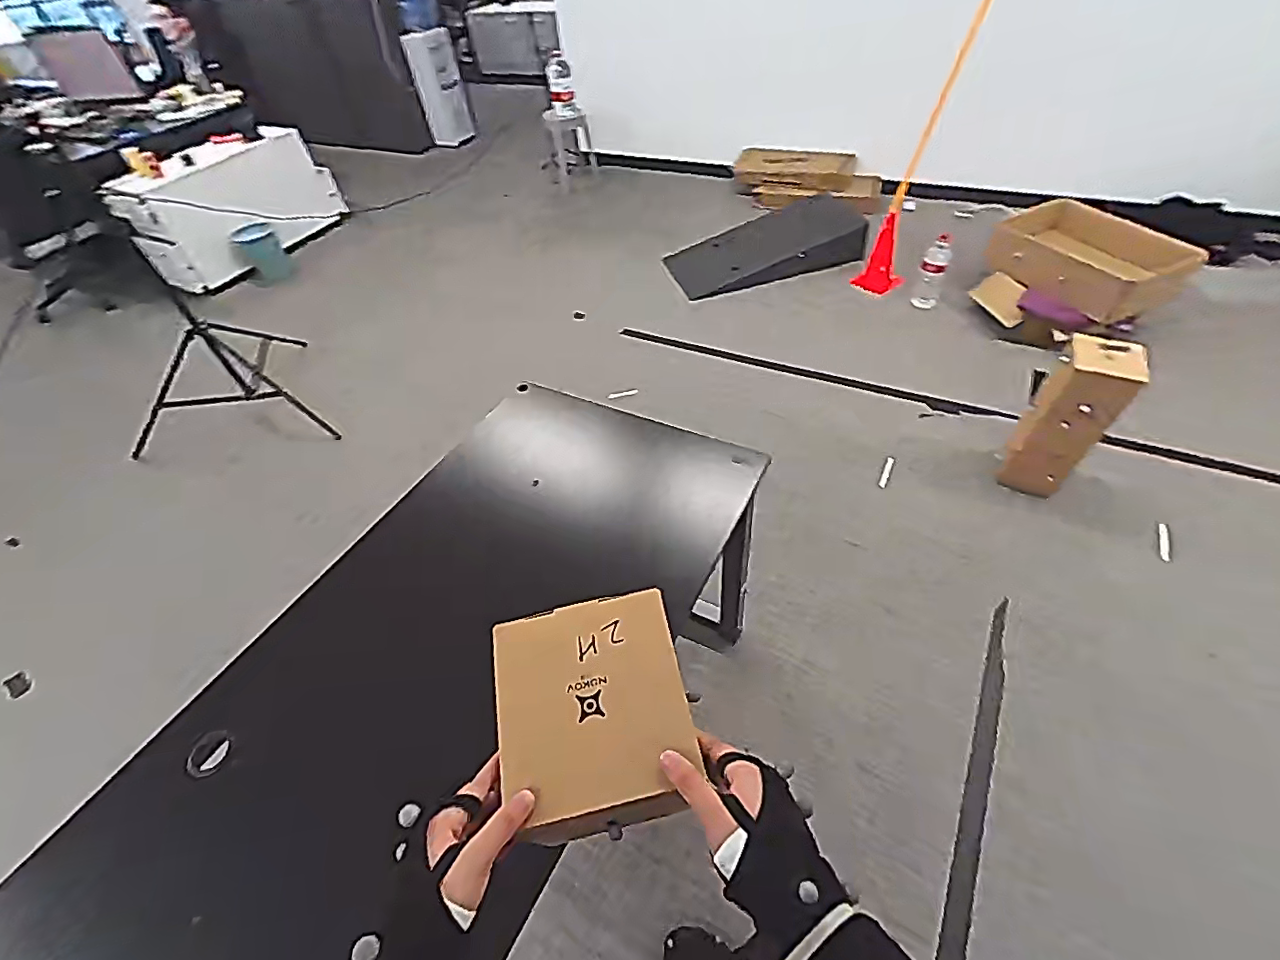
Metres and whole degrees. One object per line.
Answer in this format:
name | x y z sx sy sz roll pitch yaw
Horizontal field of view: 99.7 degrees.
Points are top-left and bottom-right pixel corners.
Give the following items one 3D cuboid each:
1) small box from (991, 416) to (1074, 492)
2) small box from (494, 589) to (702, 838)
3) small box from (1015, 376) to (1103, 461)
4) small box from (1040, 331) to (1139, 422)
small box | 1.307 -0.083 1.802 0.179 0.176 0.168 18 52 22
small box | -0.037 0.238 0.538 0.168 0.176 0.179 -13 52 -3
small box | 1.293 -0.191 1.679 0.168 0.176 0.179 17 52 21
small box | 1.283 -0.299 1.554 0.168 0.176 0.179 17 53 21
